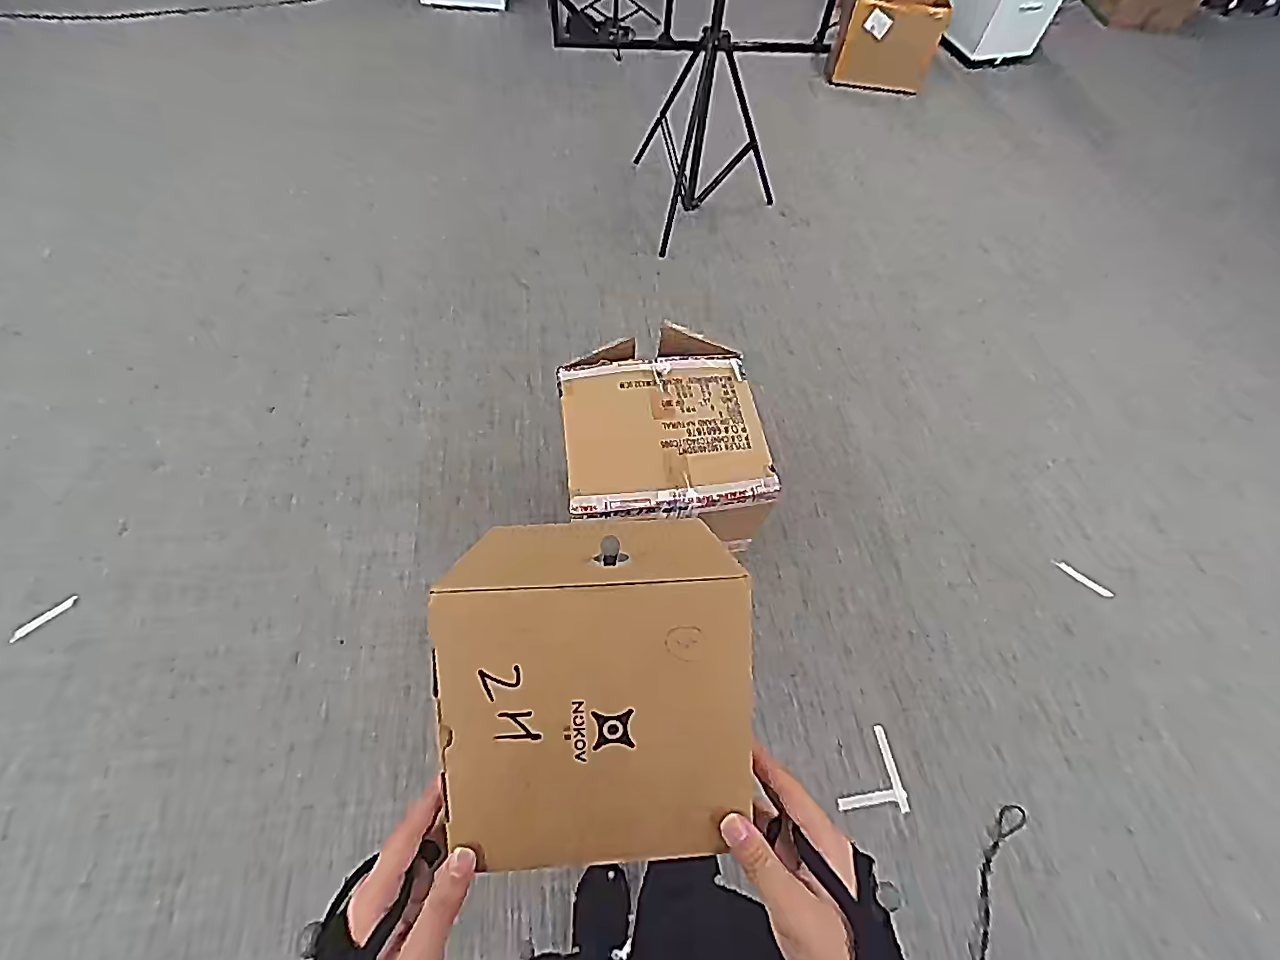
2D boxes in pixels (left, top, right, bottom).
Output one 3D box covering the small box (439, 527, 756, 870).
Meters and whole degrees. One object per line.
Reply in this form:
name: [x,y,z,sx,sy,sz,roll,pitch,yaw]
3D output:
small box: [-0.026,0.130,0.385,0.179,0.176,0.168,-2,96,-3]
